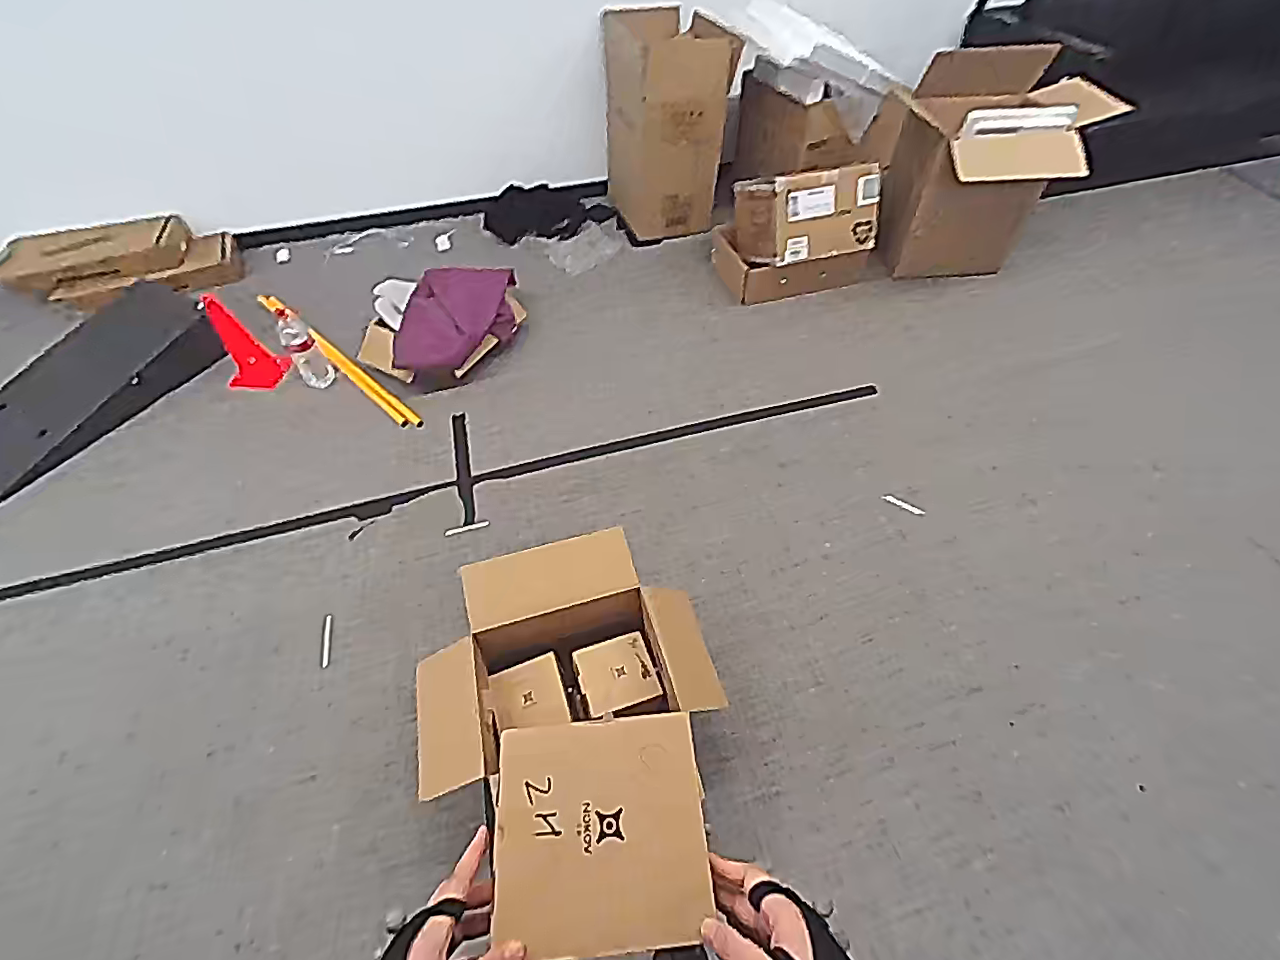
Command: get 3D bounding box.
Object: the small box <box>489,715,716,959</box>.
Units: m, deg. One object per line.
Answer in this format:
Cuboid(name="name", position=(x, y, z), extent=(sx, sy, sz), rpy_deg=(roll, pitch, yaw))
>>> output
Cuboid(name="small box", position=(-0.035, 0.337, 0.518), extent=(0.179, 0.176, 0.168), rpy_deg=(-6, 54, -3))
